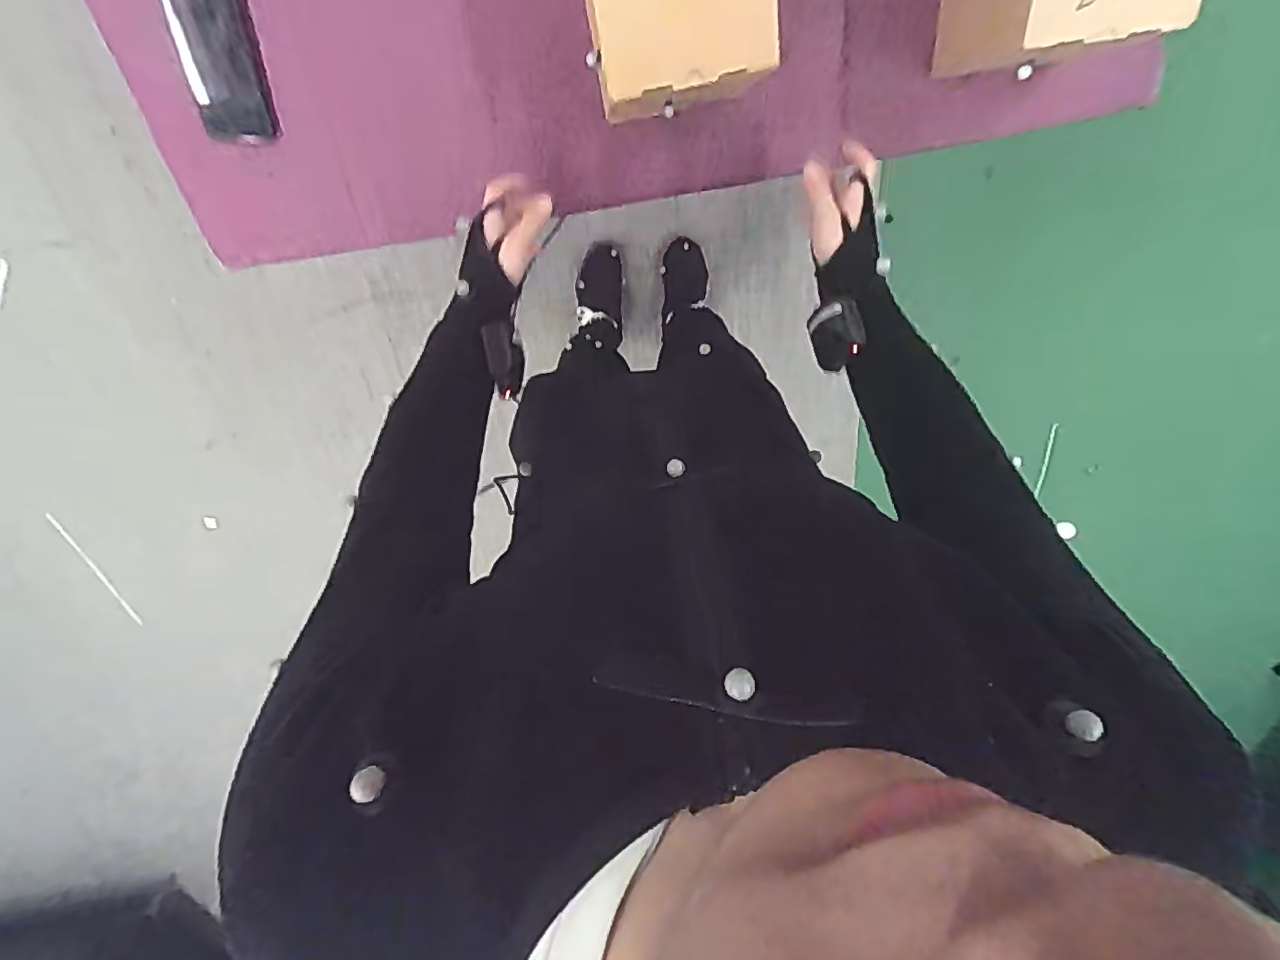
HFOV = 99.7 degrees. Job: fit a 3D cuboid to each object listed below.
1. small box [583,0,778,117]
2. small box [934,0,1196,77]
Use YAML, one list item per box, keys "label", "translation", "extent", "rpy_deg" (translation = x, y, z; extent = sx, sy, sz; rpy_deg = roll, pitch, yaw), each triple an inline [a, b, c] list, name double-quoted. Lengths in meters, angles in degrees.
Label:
- label: "small box"
  translation: [0.029, -0.489, 0.539]
  extent: [0.168, 0.176, 0.179]
  rpy_deg: [-11, 119, 1]
- label: "small box"
  translation: [0.427, -0.535, 0.544]
  extent: [0.168, 0.176, 0.179]
  rpy_deg: [-7, 119, 0]
